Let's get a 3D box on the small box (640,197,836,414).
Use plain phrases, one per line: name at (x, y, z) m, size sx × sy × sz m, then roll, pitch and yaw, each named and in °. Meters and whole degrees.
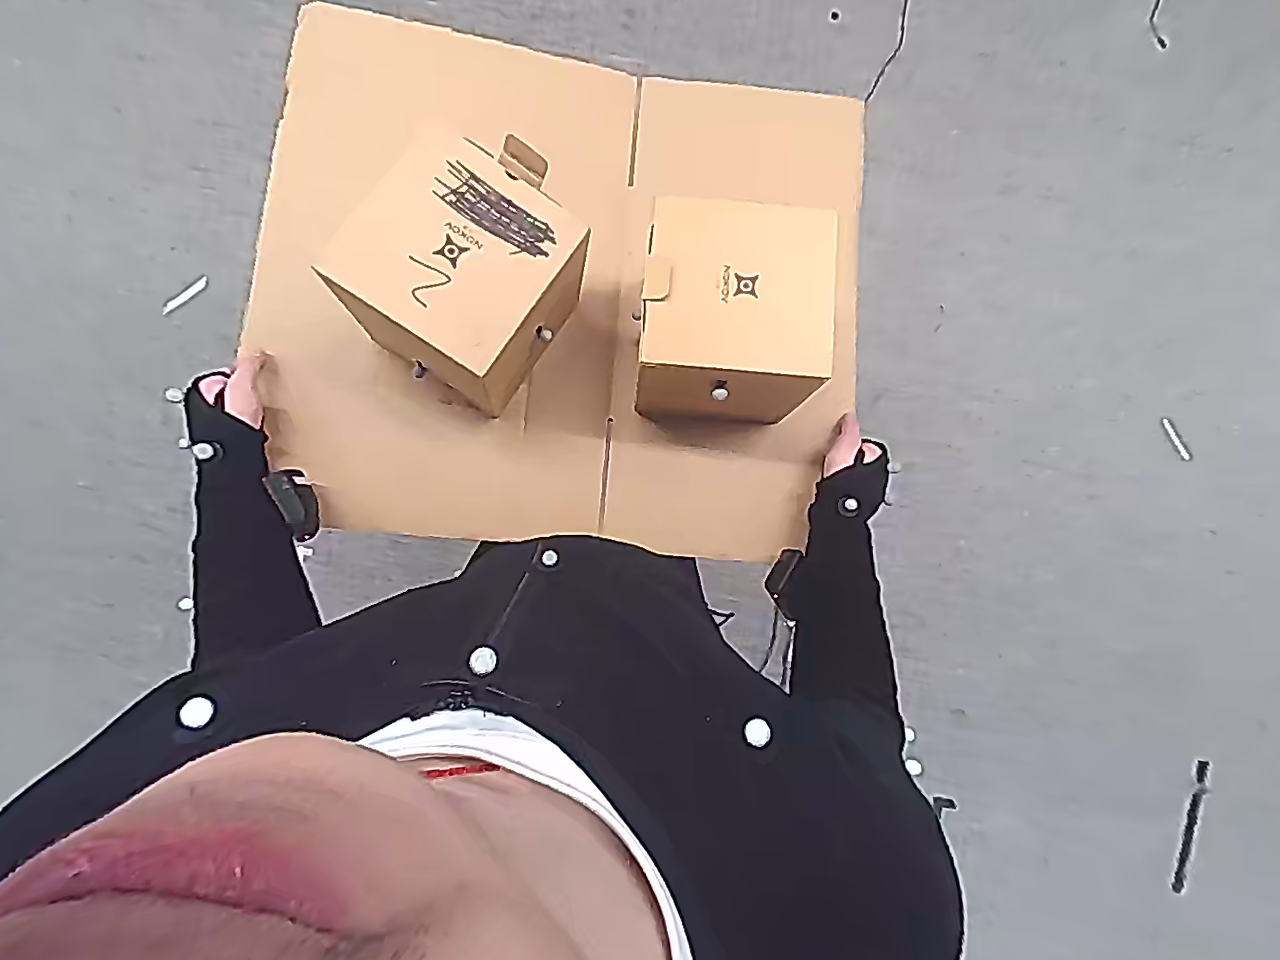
small box at (0.094, -0.173, 0.588) m, size 0.179 × 0.176 × 0.168 m, roll 5°, pitch 82°, yaw 0°
